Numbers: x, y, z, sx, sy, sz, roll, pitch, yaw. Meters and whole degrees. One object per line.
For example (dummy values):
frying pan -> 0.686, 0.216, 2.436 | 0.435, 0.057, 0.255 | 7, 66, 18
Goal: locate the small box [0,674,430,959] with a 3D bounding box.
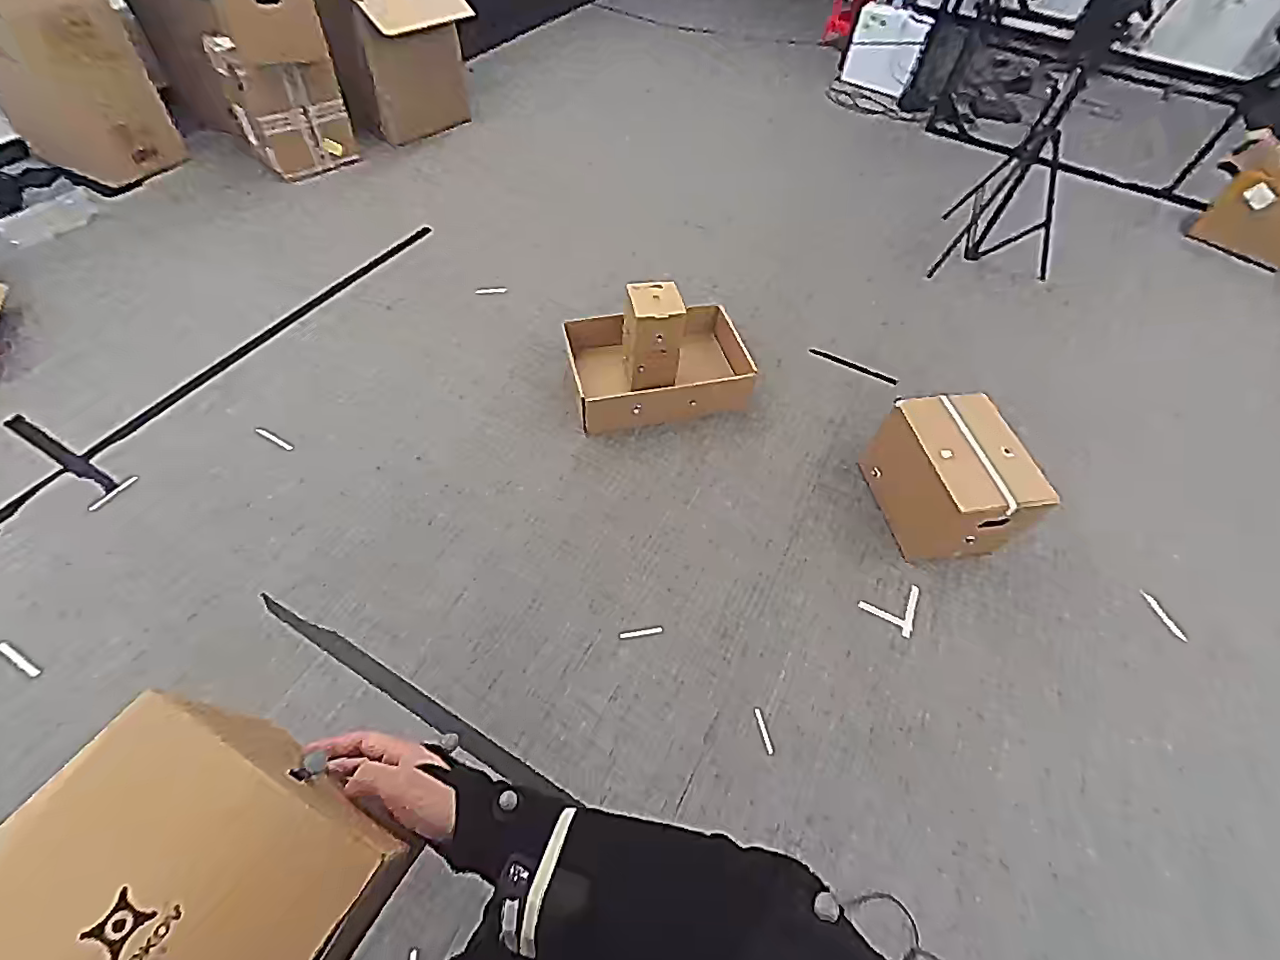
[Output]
small box -> -0.262, 0.256, 0.343 | 0.179, 0.176, 0.168 | 32, 59, 5

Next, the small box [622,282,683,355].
small box -> 0.037, -0.534, 1.806 | 0.168, 0.176, 0.179 | -7, 56, -10
